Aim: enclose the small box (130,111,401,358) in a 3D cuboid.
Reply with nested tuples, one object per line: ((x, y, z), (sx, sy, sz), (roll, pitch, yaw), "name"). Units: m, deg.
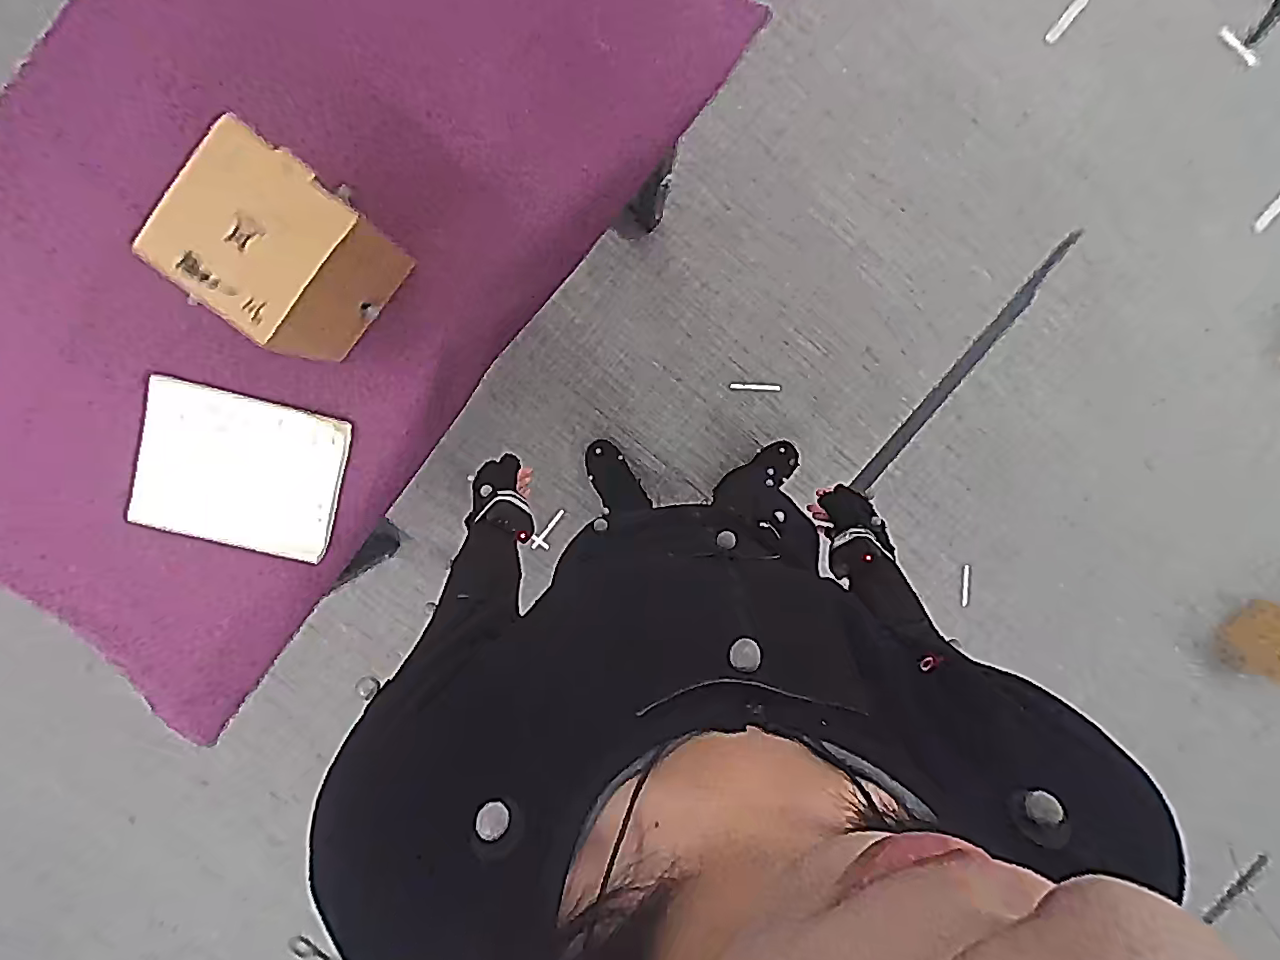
((-0.414, -0.268, 0.639), (0.168, 0.176, 0.179), (38, 92, -5), "small box")

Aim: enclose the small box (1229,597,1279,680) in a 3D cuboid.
((1.876, 0.471, 1.561), (0.179, 0.176, 0.168), (-39, 98, 1), "small box")
